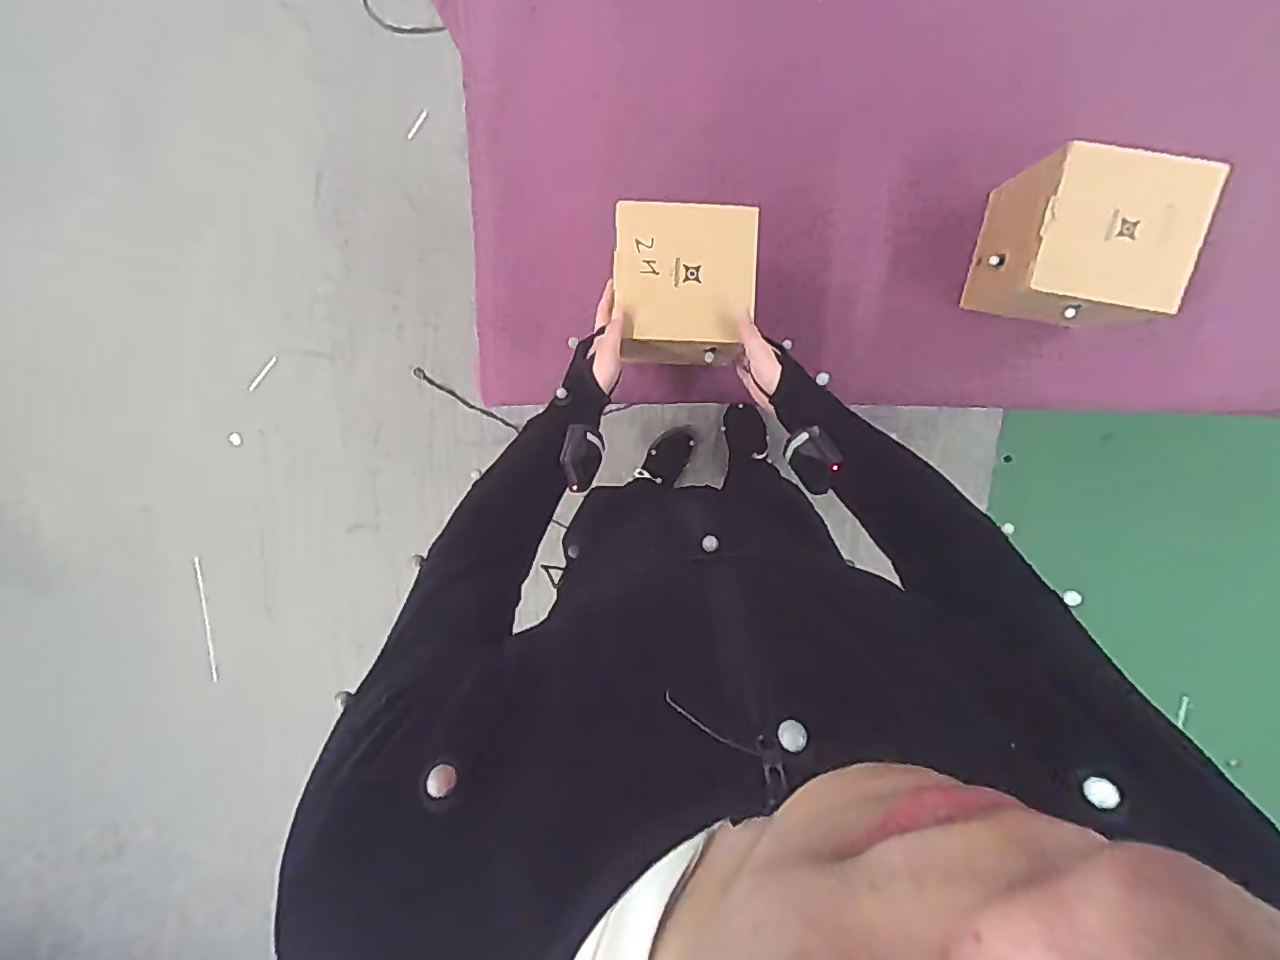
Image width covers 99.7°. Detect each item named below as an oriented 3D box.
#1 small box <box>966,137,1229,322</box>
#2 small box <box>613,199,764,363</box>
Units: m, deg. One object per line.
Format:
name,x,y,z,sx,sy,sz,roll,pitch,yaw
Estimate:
small box,0.564,-0.307,0.699,0.179,0.176,0.168,12,102,3
small box,0.056,-0.255,0.731,0.179,0.176,0.168,3,93,-1
